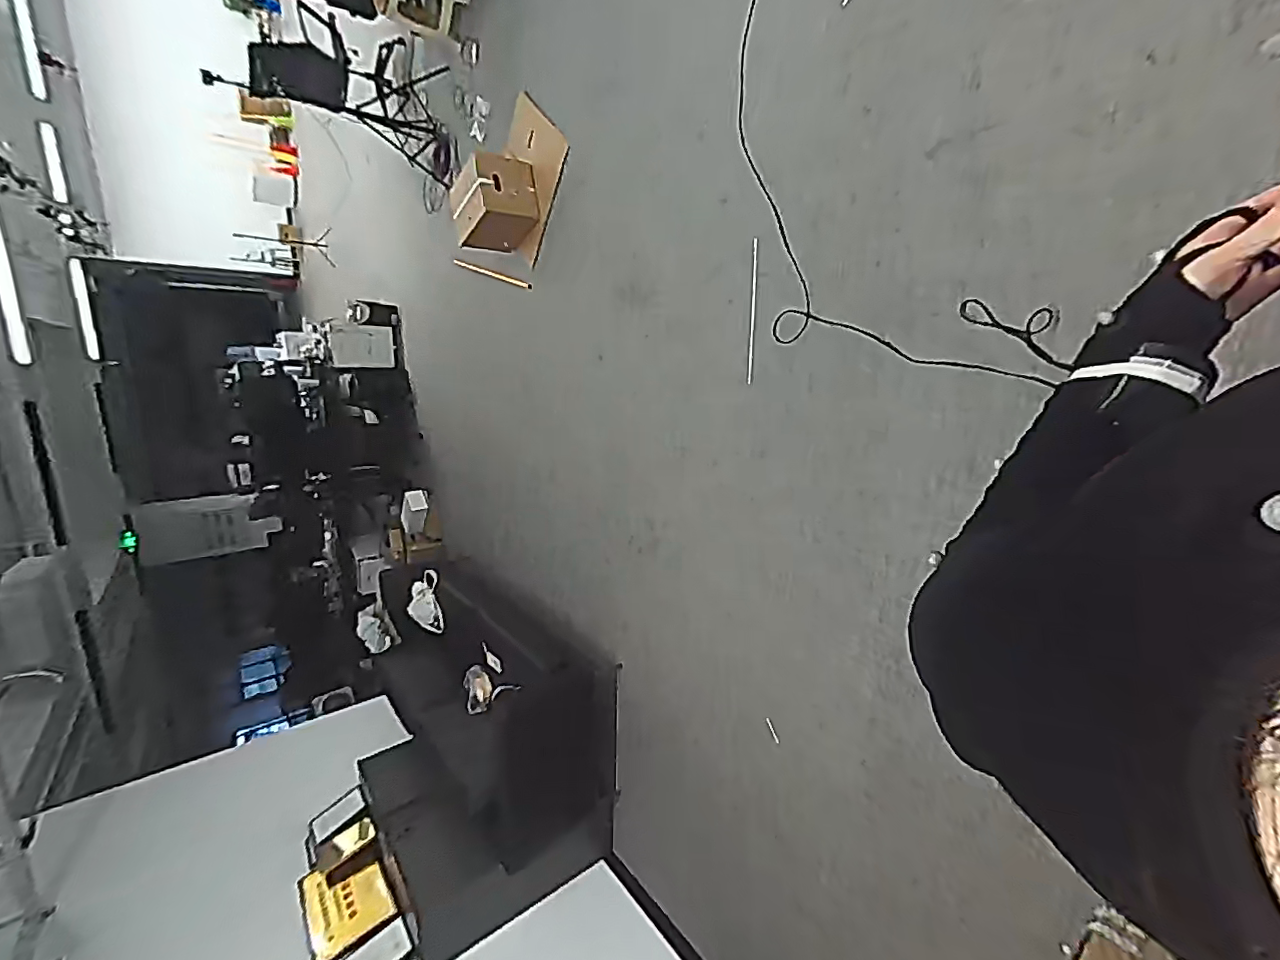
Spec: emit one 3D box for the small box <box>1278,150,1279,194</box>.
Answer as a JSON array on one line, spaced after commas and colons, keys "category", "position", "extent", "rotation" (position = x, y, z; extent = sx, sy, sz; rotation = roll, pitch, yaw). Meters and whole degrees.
[{"category": "small box", "position": [0.475, -0.260, 0.283], "extent": [0.179, 0.176, 0.168], "rotation": [0, 101, 46]}]
